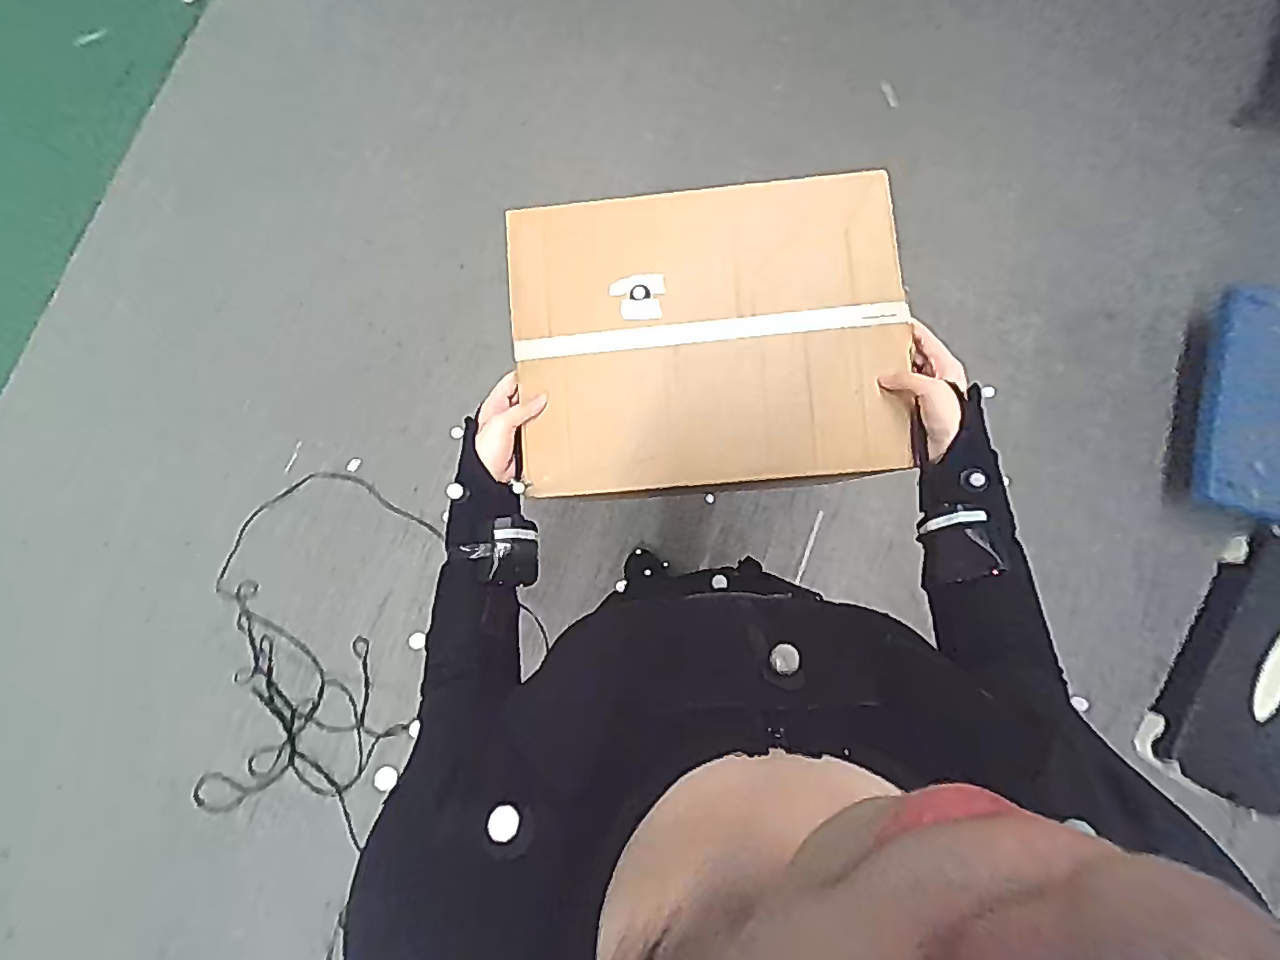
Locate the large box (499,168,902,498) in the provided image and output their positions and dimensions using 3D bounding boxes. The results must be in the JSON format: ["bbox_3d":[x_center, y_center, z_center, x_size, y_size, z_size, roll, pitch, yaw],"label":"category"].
[{"bbox_3d":[0.070,-0.149,0.724,0.408,0.320,0.320,-6,86,4],"label":"large box"}]
